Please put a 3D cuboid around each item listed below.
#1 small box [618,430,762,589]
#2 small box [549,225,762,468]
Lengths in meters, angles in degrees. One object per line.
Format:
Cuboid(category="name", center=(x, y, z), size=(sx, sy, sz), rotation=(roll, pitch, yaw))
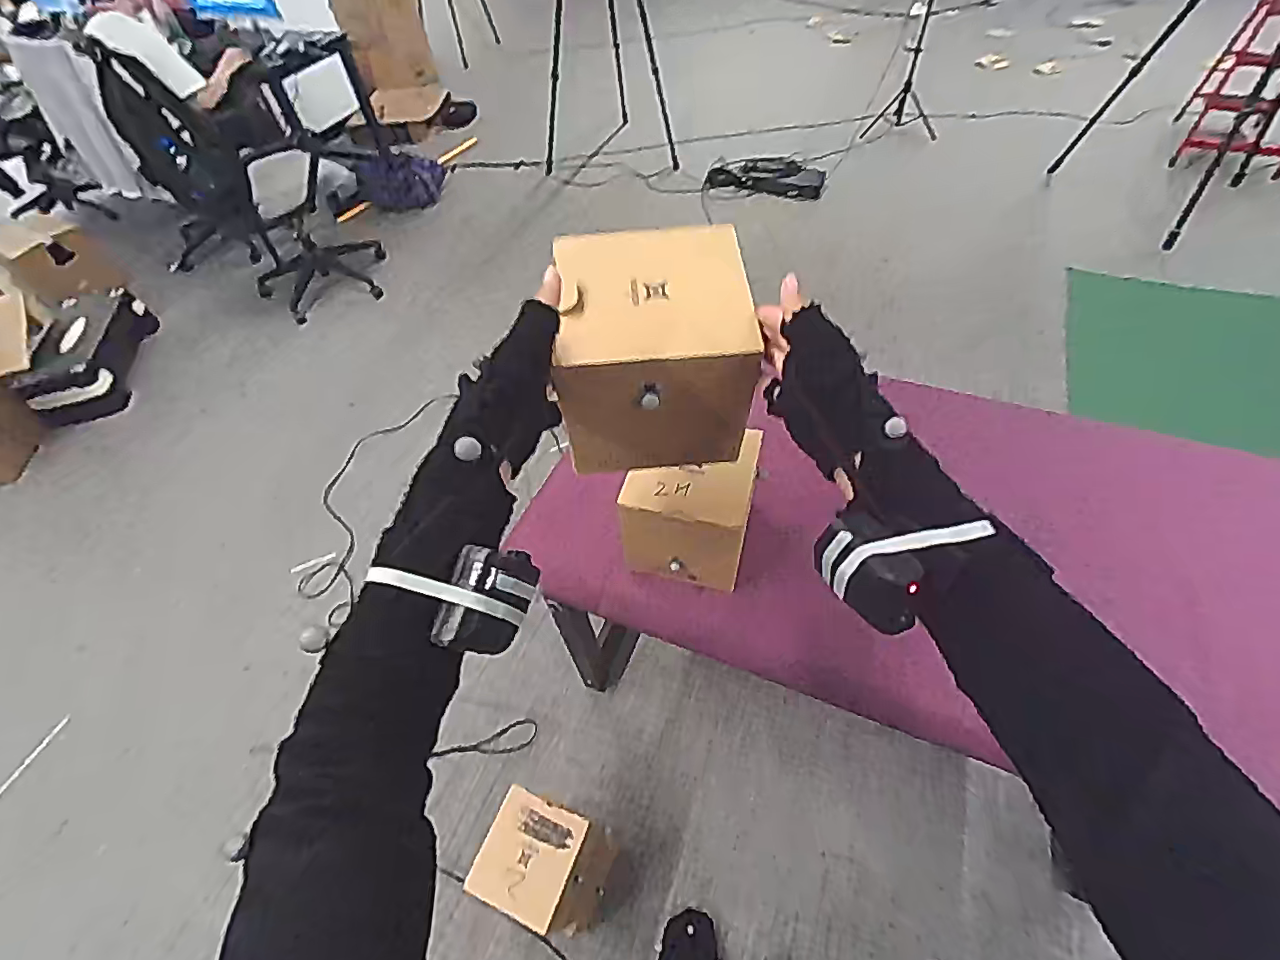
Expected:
Cuboid(category="small box", center=(0.074, 0.032, 0.798), size=(0.168, 0.176, 0.179), rotation=(12, 53, 13))
Cuboid(category="small box", center=(0.010, -0.125, 0.543), size=(0.179, 0.176, 0.168), rotation=(-5, 61, -1))
